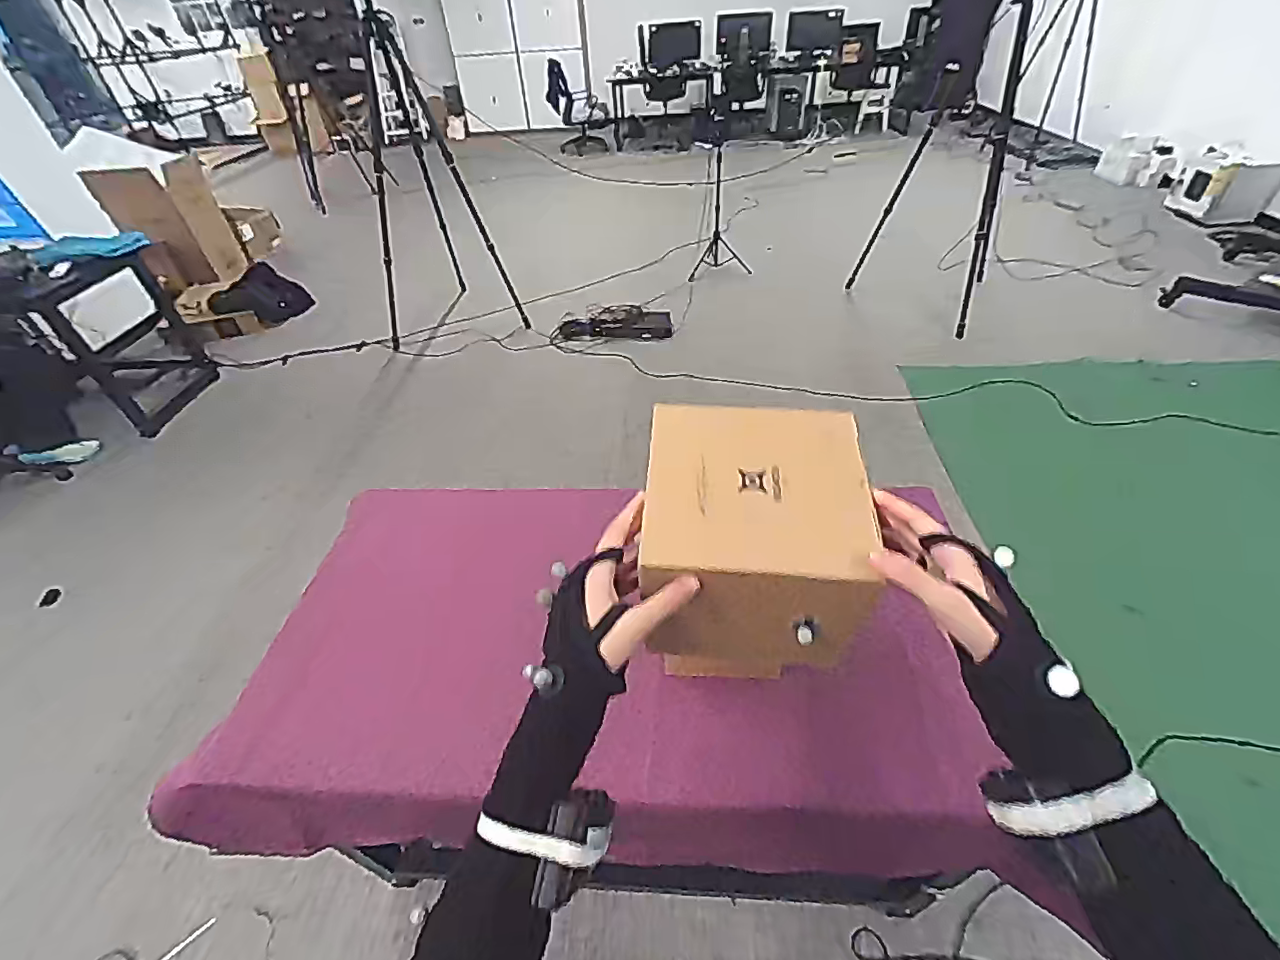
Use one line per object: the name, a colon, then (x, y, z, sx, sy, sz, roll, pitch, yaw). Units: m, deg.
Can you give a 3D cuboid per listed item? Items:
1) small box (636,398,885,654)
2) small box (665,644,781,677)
small box: (0.094, 0.046, 0.489, 0.179, 0.176, 0.168, 3, 51, 6)
small box: (0.130, 0.189, 0.840, 0.179, 0.176, 0.168, 0, 42, 6)
